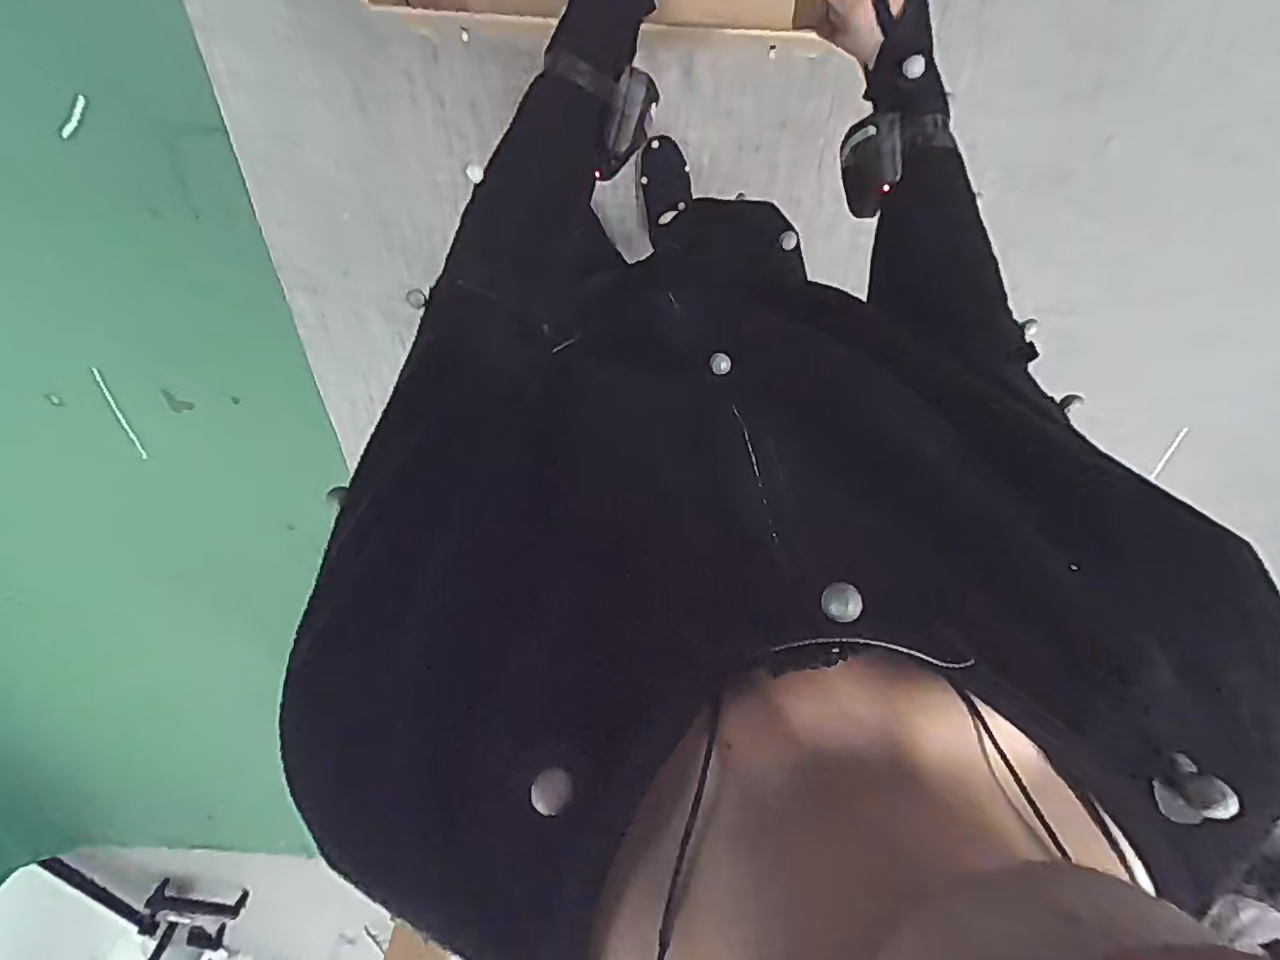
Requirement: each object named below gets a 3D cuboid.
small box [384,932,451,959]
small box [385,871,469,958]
[{"bbox_3d":[-0.636,1.405,1.511,0.168,0.176,0.179,9,124,-4],"label":"small box"},{"bbox_3d":[-0.644,1.328,1.657,0.179,0.176,0.168,3,126,1],"label":"small box"}]
